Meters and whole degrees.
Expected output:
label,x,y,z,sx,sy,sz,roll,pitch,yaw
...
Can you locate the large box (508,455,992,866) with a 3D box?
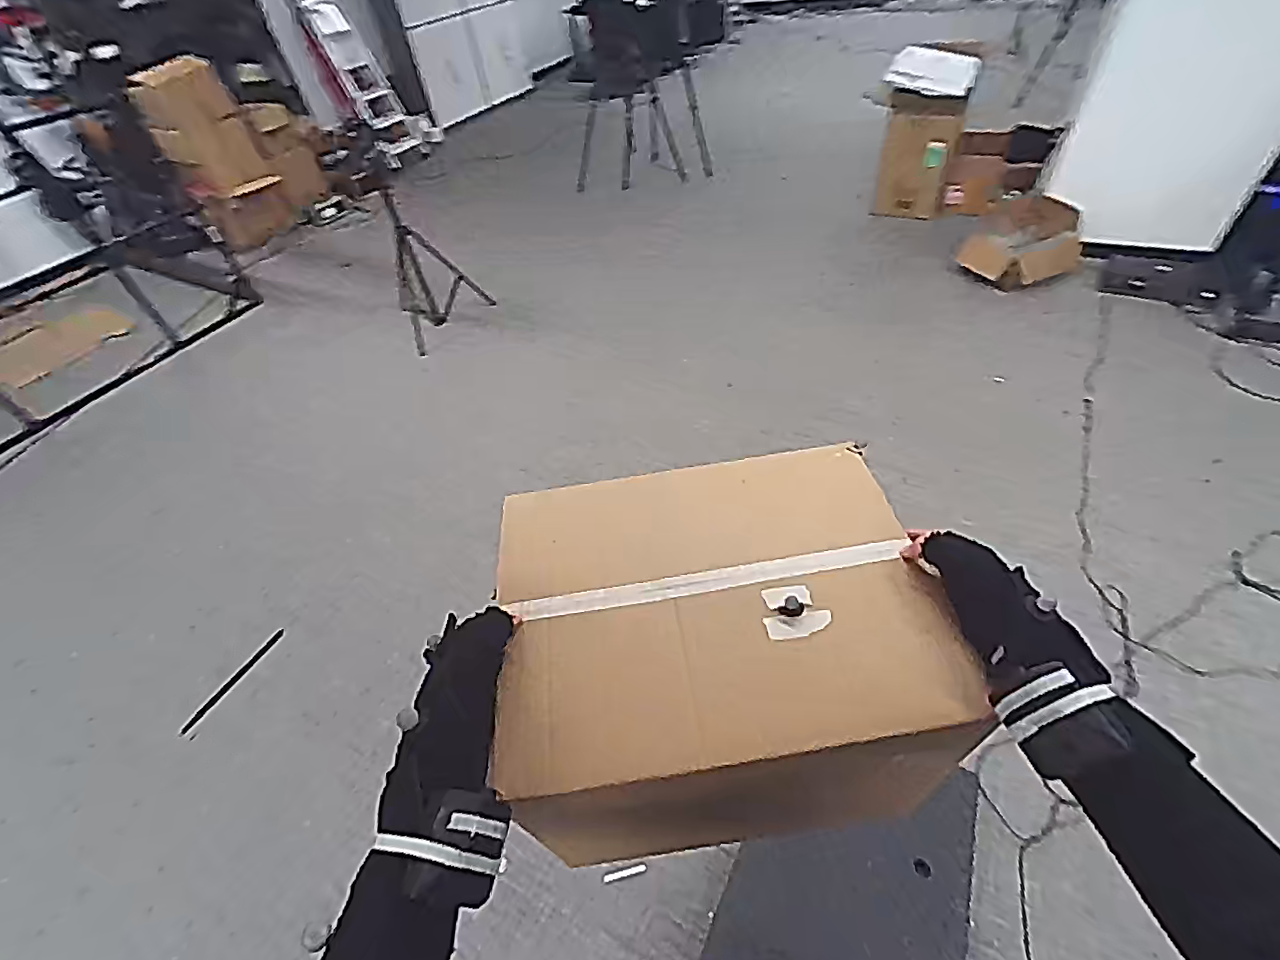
label,x,y,z,sx,sy,sz,roll,pitch,yaw
large box,0.084,0.211,0.636,0.408,0.320,0.320,-9,46,-1
